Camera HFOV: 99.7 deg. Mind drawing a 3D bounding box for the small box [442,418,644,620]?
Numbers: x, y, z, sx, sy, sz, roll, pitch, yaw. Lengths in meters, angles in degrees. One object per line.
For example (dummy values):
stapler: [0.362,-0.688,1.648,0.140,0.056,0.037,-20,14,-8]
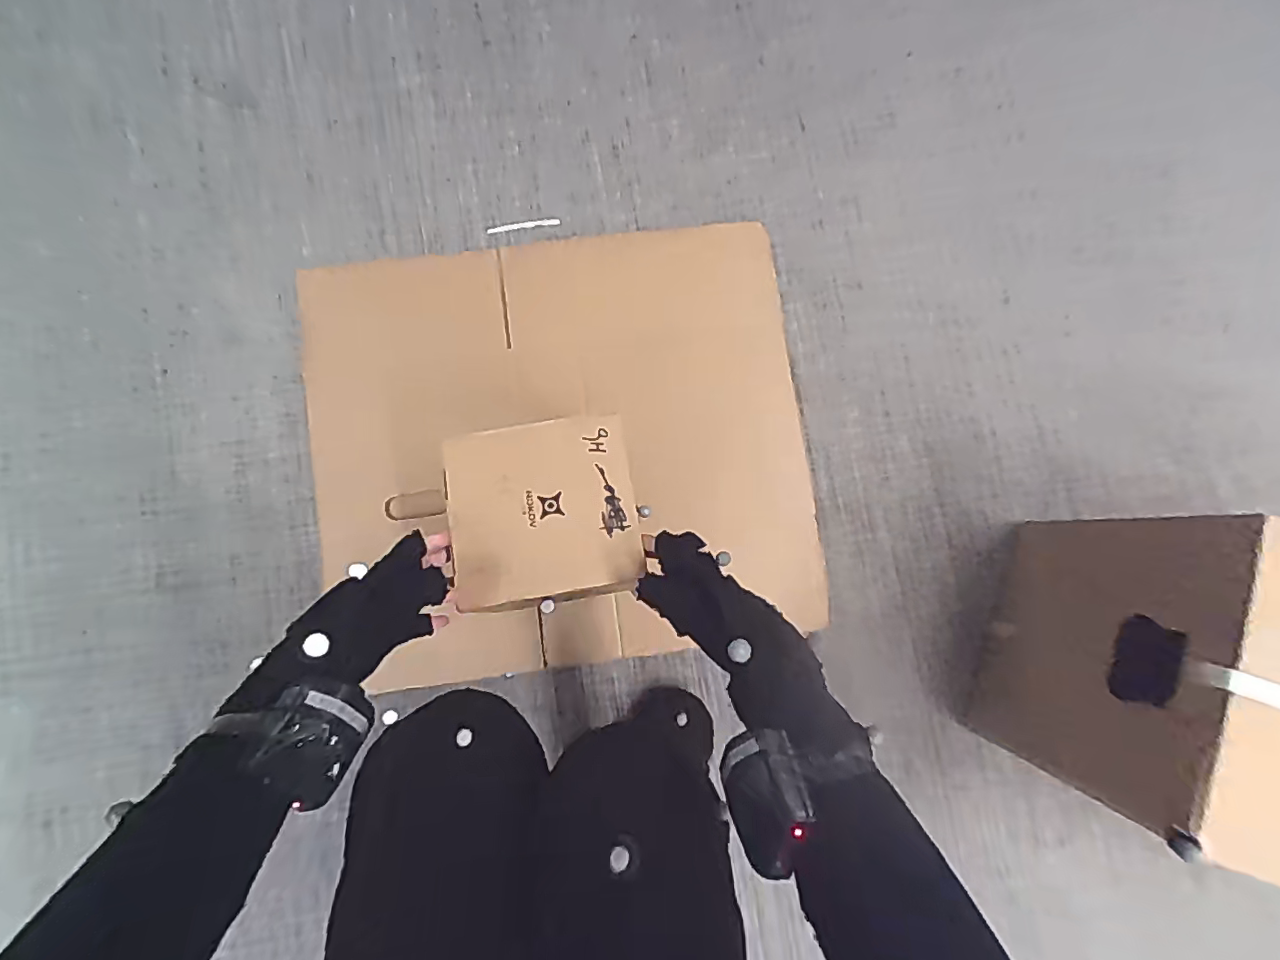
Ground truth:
small box: [-0.098,0.054,0.599,0.179,0.176,0.168,-12,74,-5]
